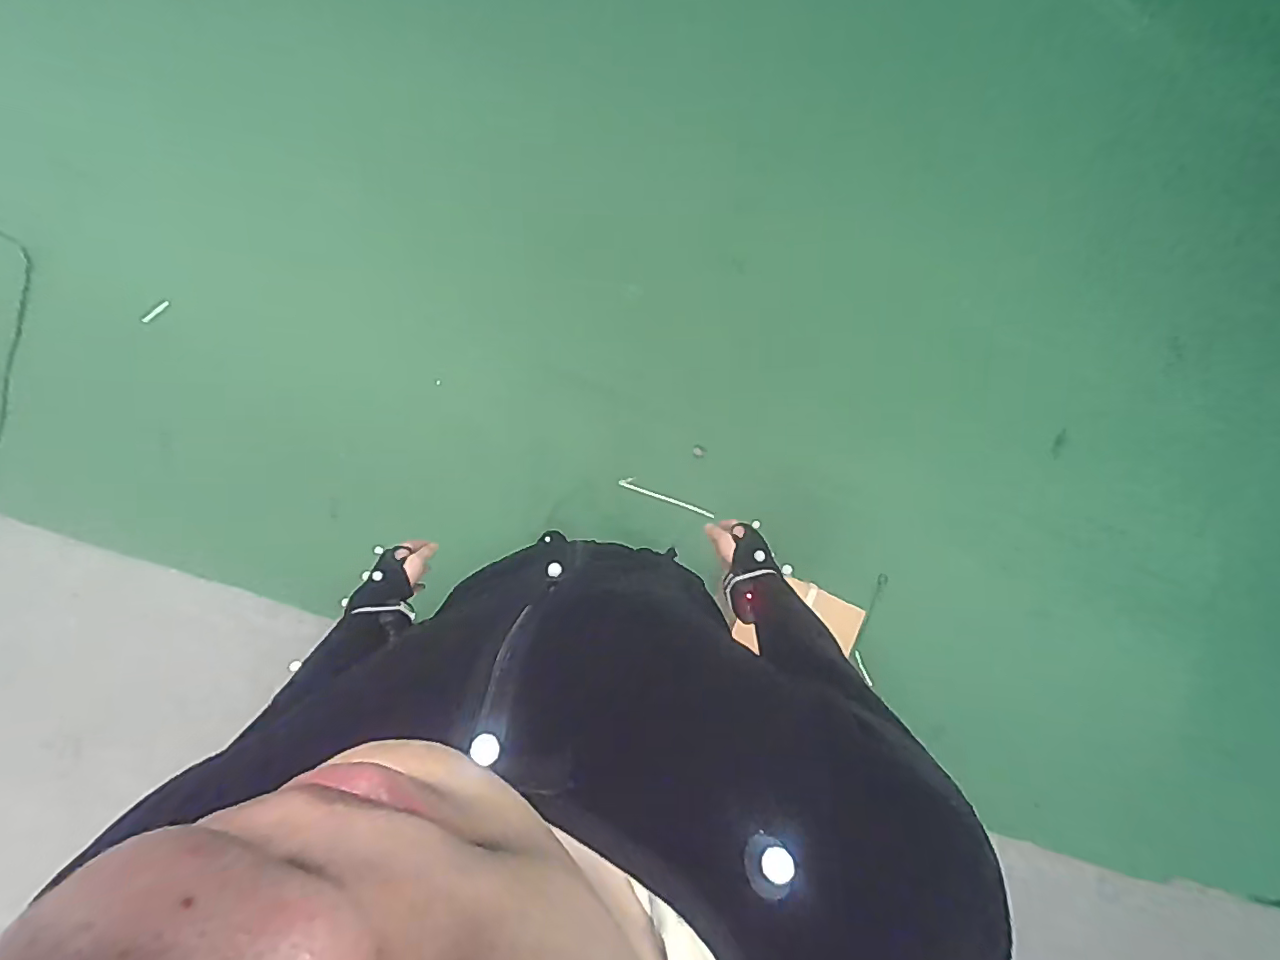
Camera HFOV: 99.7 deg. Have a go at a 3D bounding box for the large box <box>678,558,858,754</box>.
[{"bbox_3d":[0.346,0.470,1.537,0.320,0.320,0.408,25,83,-3],"label":"large box"}]
